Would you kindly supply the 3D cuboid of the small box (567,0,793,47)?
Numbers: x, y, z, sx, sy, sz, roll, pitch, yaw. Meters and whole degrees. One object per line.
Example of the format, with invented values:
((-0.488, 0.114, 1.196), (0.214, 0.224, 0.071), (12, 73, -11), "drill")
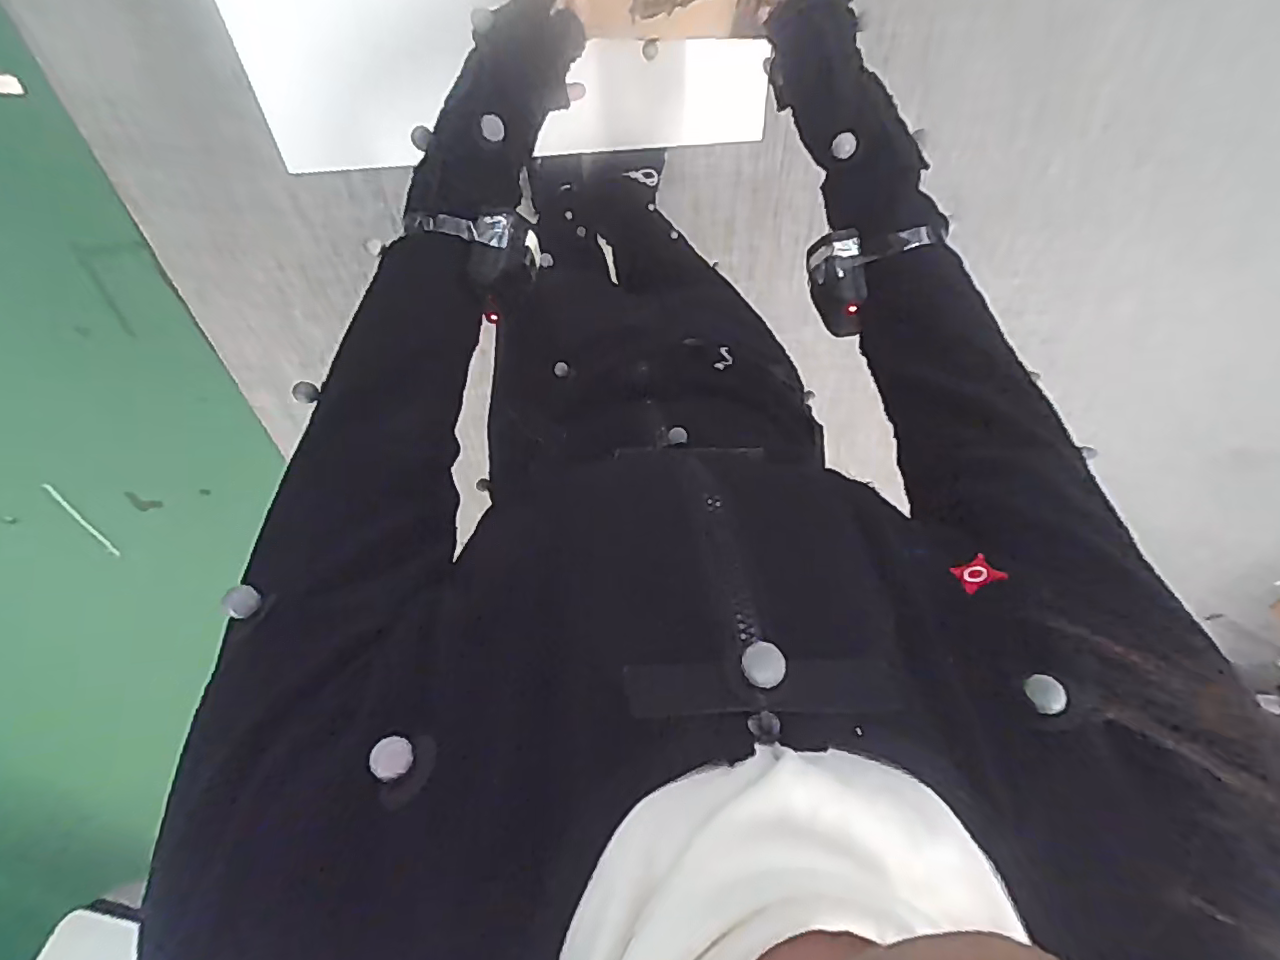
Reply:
((0.024, -0.442, 0.406), (0.168, 0.176, 0.179), (-3, 133, -4), "small box")
